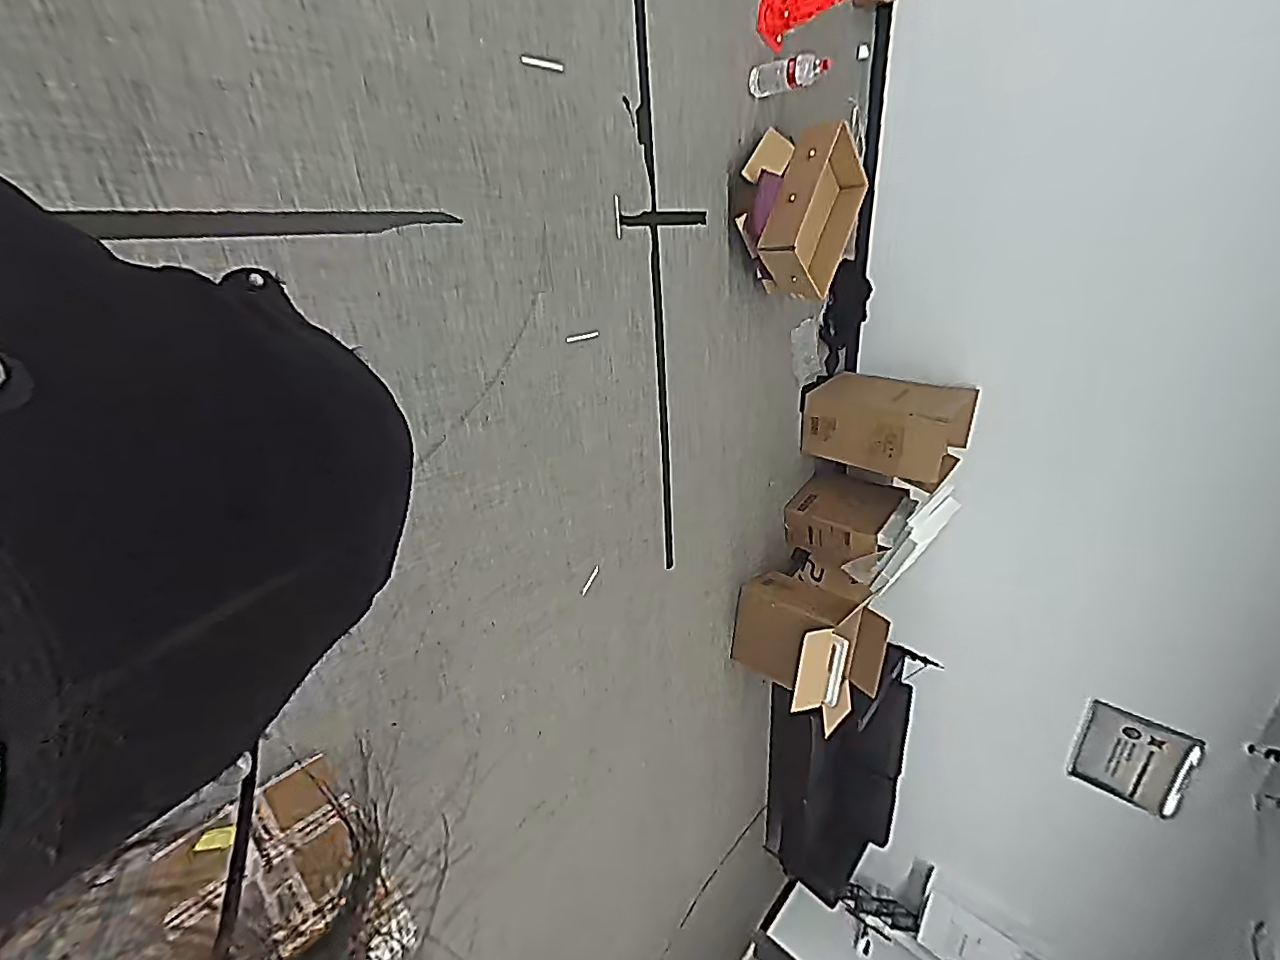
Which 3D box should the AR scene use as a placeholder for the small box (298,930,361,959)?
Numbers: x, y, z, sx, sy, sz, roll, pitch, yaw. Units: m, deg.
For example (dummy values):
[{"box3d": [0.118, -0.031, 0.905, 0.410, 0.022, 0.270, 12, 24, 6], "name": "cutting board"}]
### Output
[{"box3d": [-0.666, 1.128, 1.154, 0.168, 0.176, 0.179, -27, 119, -41], "name": "small box"}]
